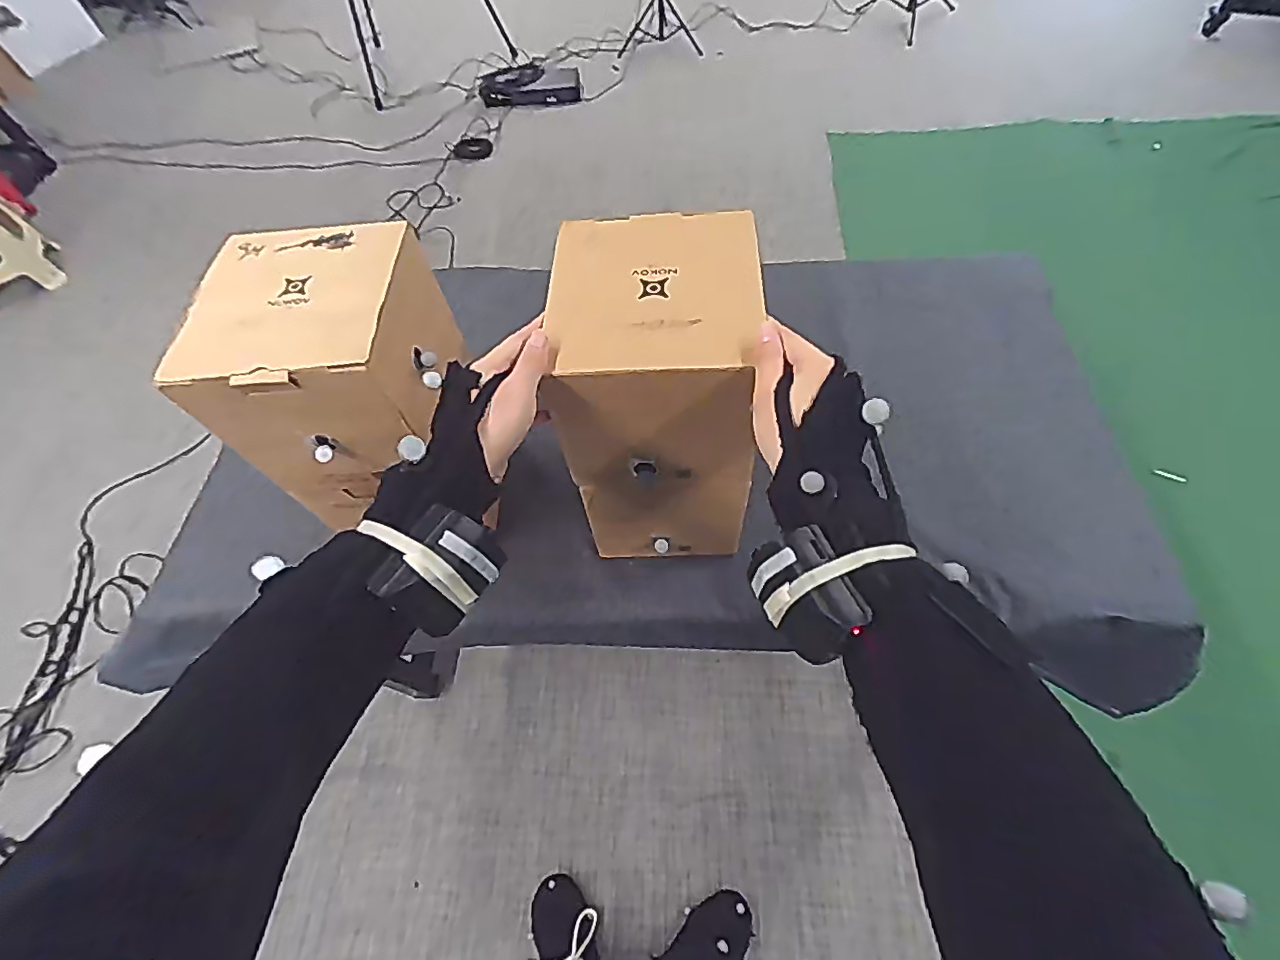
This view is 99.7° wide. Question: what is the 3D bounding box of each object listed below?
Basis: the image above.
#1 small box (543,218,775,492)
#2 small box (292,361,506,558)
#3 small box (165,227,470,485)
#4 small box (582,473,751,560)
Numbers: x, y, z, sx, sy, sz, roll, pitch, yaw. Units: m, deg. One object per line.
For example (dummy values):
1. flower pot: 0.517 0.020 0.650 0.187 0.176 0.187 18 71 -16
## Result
1. small box: 0.020 -0.105 0.487 0.168 0.176 0.179 -2 59 5
2. small box: -0.268 -0.021 0.652 0.168 0.176 0.179 -3 59 2
3. small box: -0.273 -0.105 0.512 0.168 0.176 0.179 -4 59 2
4. small box: 0.031 -0.021 0.626 0.168 0.176 0.179 -2 58 4
